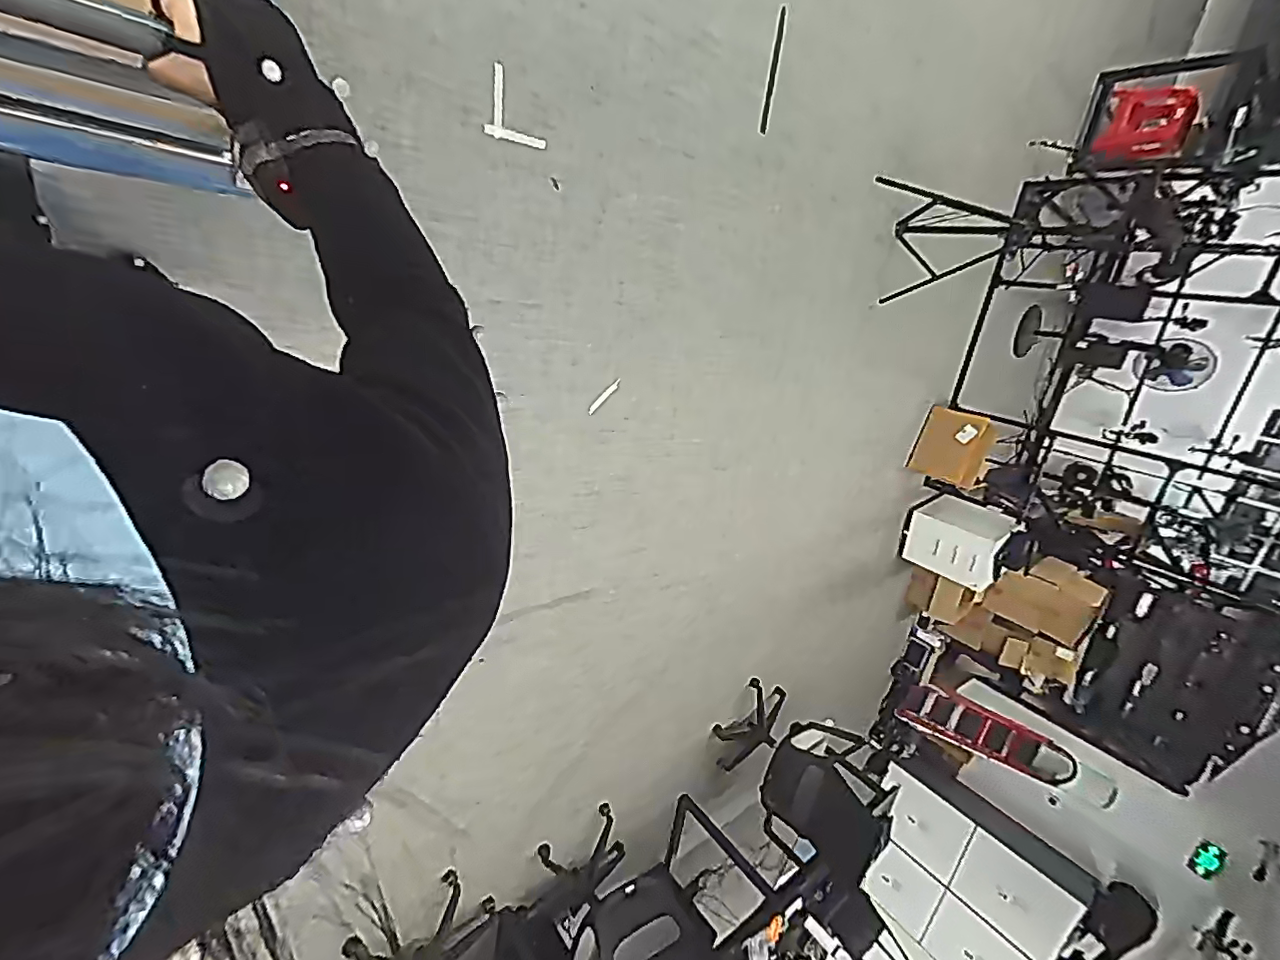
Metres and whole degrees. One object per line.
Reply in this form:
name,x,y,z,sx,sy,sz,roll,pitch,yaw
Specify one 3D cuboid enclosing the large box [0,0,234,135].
large box,-0.761,-0.660,0.641,0.408,0.320,0.320,-7,114,-41
